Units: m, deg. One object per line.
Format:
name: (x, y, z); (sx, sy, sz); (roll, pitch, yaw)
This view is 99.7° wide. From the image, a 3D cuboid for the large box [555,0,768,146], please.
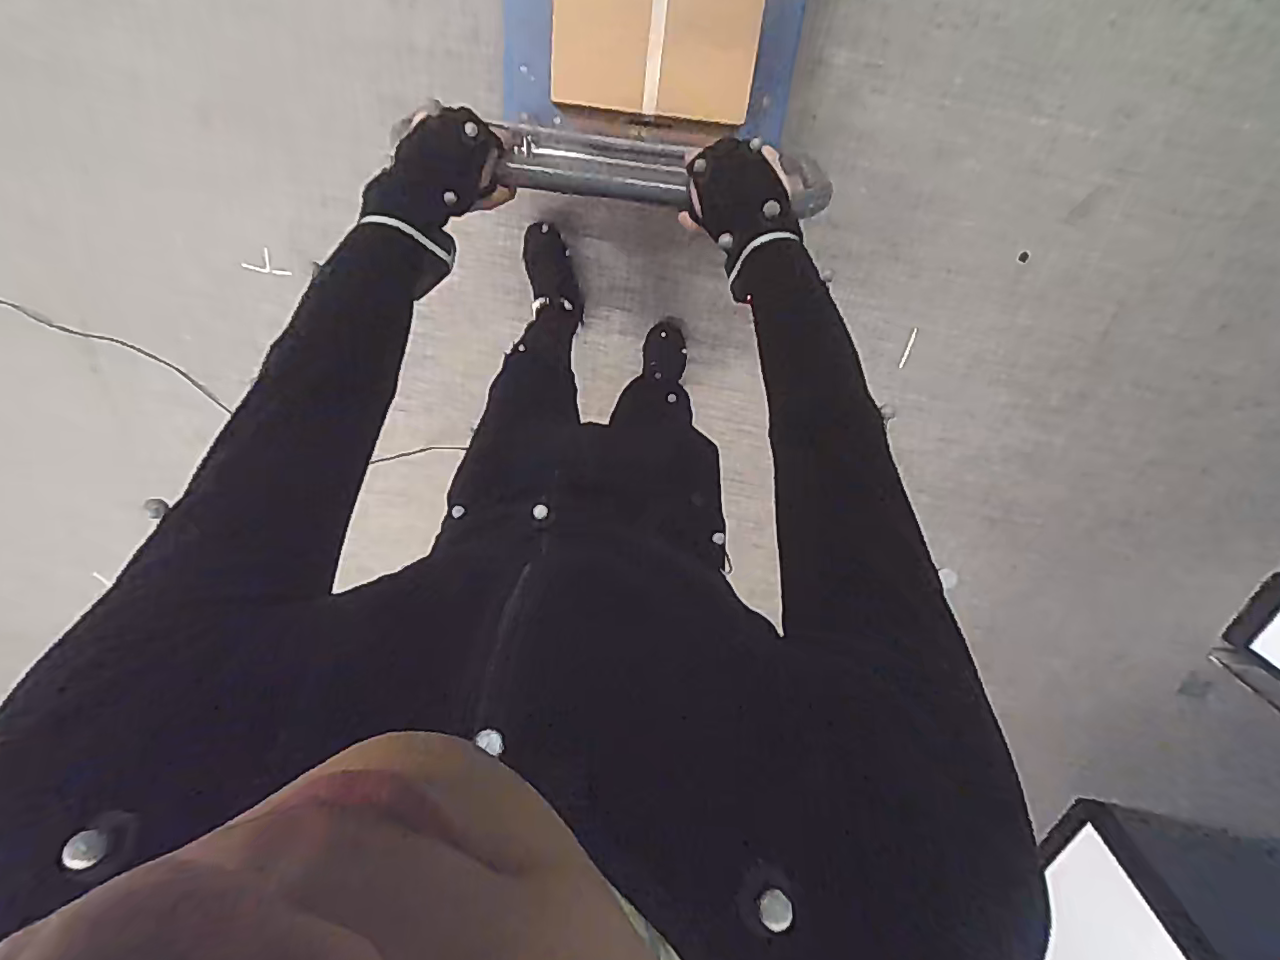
large box: (0.044, -0.825, 0.908); (0.320, 0.320, 0.408); (7, 115, -1)
